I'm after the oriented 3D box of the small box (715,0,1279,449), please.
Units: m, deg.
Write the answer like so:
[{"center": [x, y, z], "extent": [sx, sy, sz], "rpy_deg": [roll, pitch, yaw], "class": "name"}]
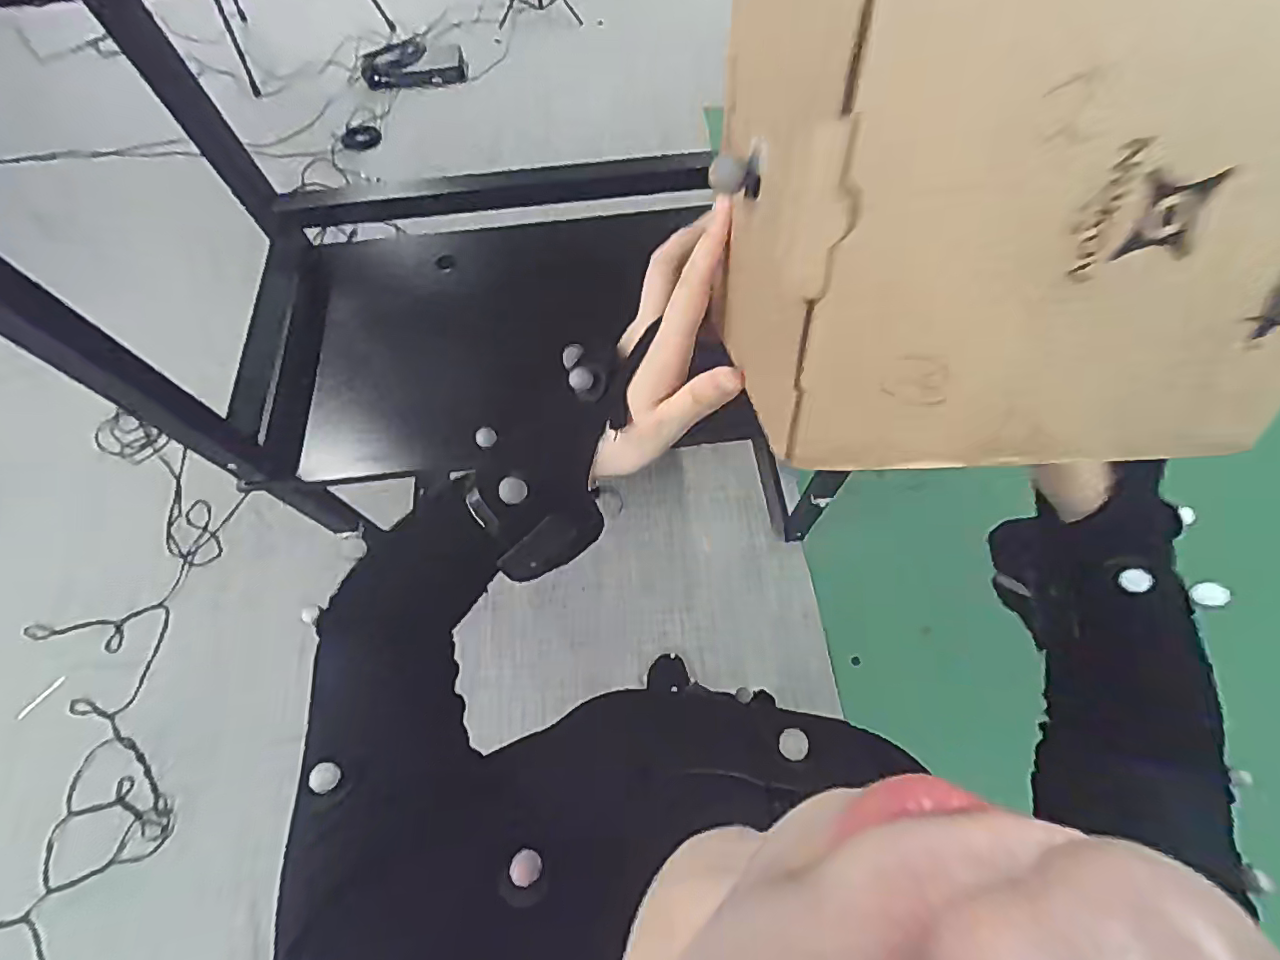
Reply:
[{"center": [0.129, -0.126, 0.209], "extent": [0.179, 0.168, 0.176], "rpy_deg": [-1, 38, -2], "class": "small box"}]
